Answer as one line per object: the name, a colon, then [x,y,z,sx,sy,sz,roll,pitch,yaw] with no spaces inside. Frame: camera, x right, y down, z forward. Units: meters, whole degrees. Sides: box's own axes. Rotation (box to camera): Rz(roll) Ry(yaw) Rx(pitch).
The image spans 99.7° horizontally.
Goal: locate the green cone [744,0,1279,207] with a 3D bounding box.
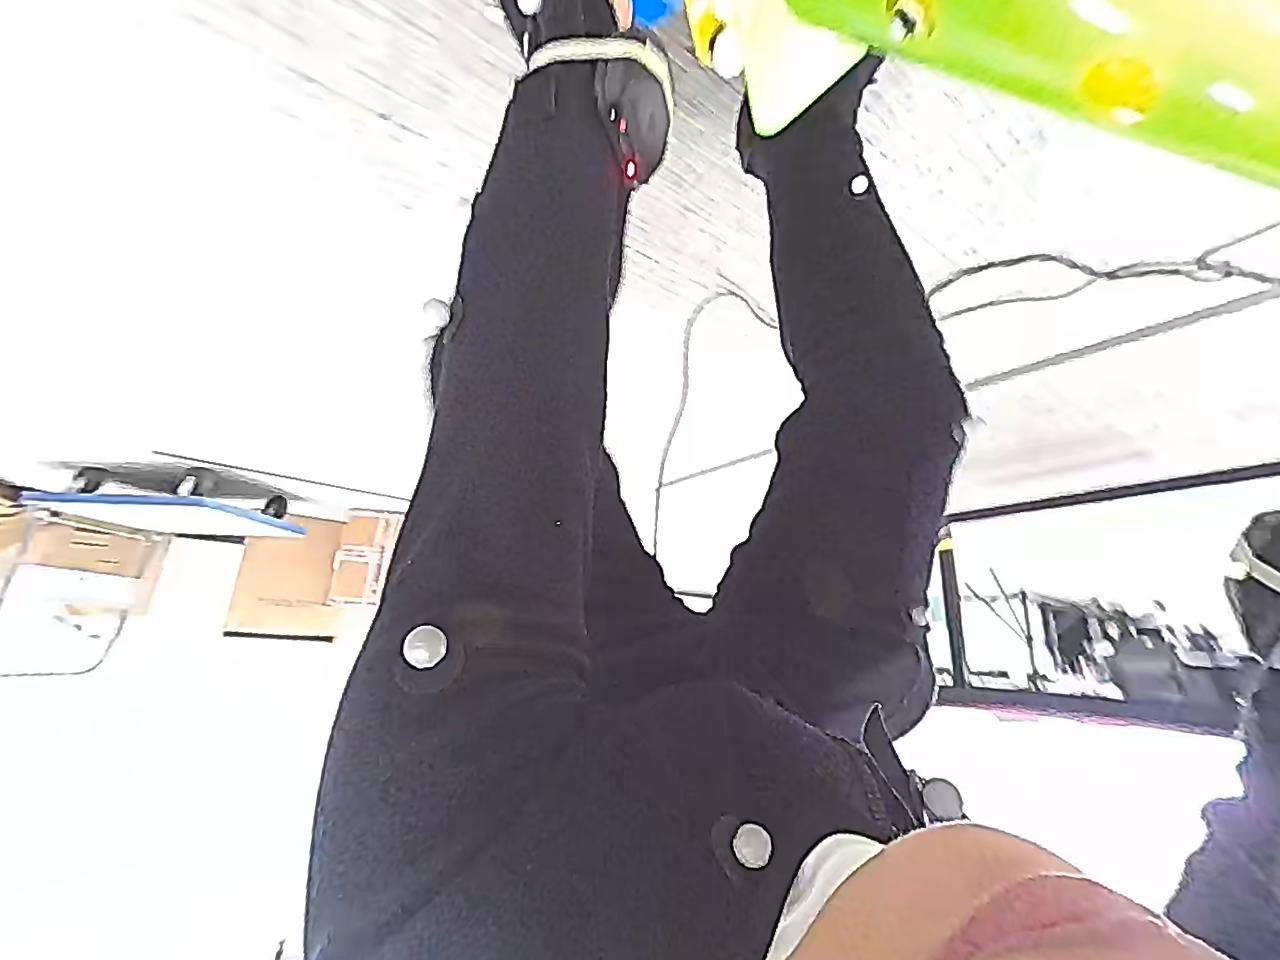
green cone: [0.225,-0.188,0.211,0.202,0.368,0.200,-38,157,9]
